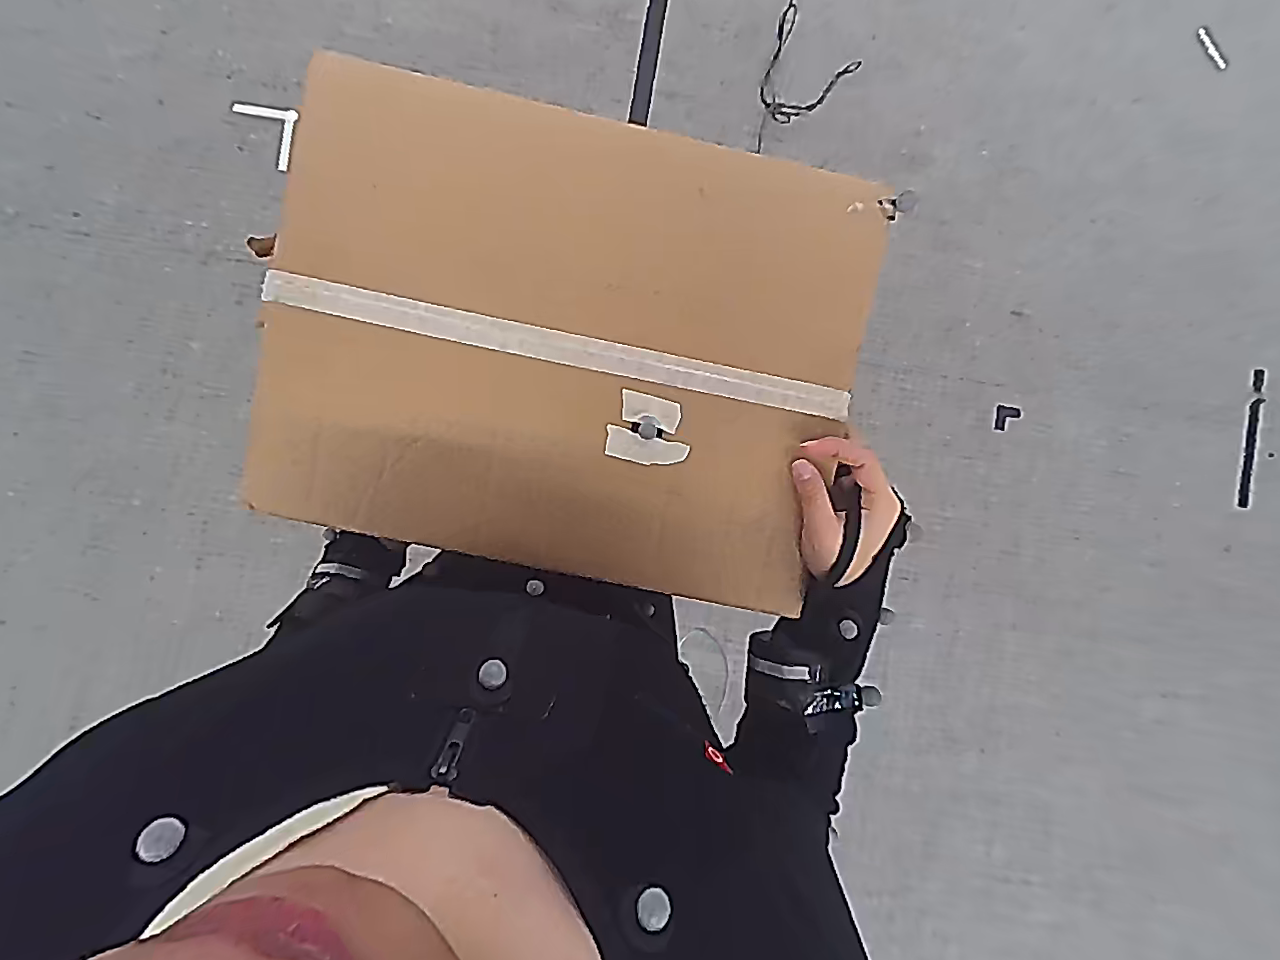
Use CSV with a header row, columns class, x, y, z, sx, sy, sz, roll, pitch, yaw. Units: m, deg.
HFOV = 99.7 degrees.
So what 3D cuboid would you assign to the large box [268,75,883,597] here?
class,x,y,z,sx,sy,sz,roll,pitch,yaw
large box,-0.053,-0.104,0.535,0.408,0.320,0.320,11,94,-4
